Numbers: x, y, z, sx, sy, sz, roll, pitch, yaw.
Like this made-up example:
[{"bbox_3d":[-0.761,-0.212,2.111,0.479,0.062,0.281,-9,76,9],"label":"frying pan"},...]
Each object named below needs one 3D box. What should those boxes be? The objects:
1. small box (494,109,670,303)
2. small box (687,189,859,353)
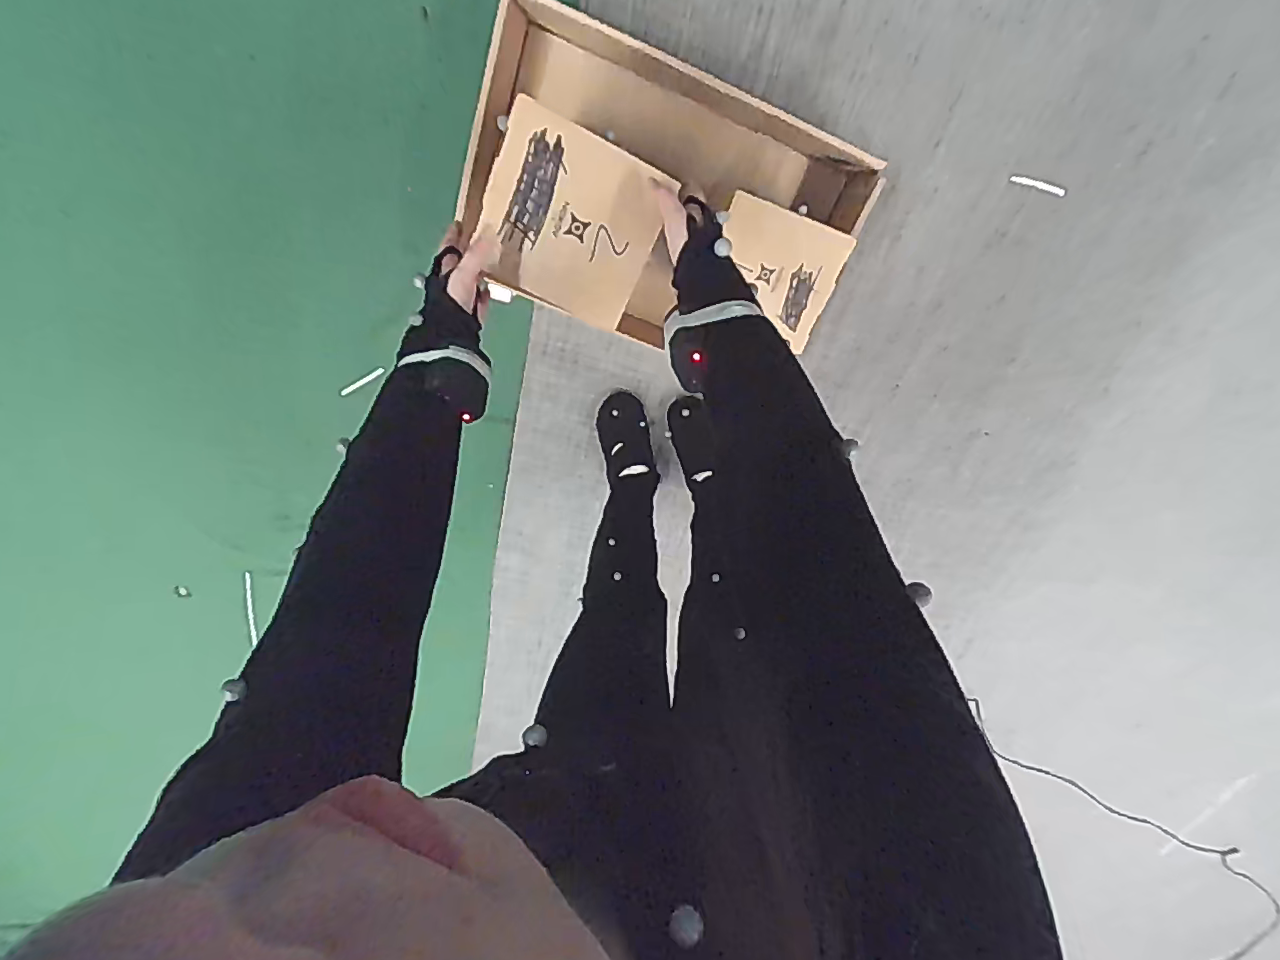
[{"bbox_3d":[-0.078,-0.380,0.766,0.179,0.176,0.168,27,115,-16],"label":"small box"},{"bbox_3d":[0.180,-0.312,0.794,0.179,0.176,0.168,19,117,-7],"label":"small box"}]
